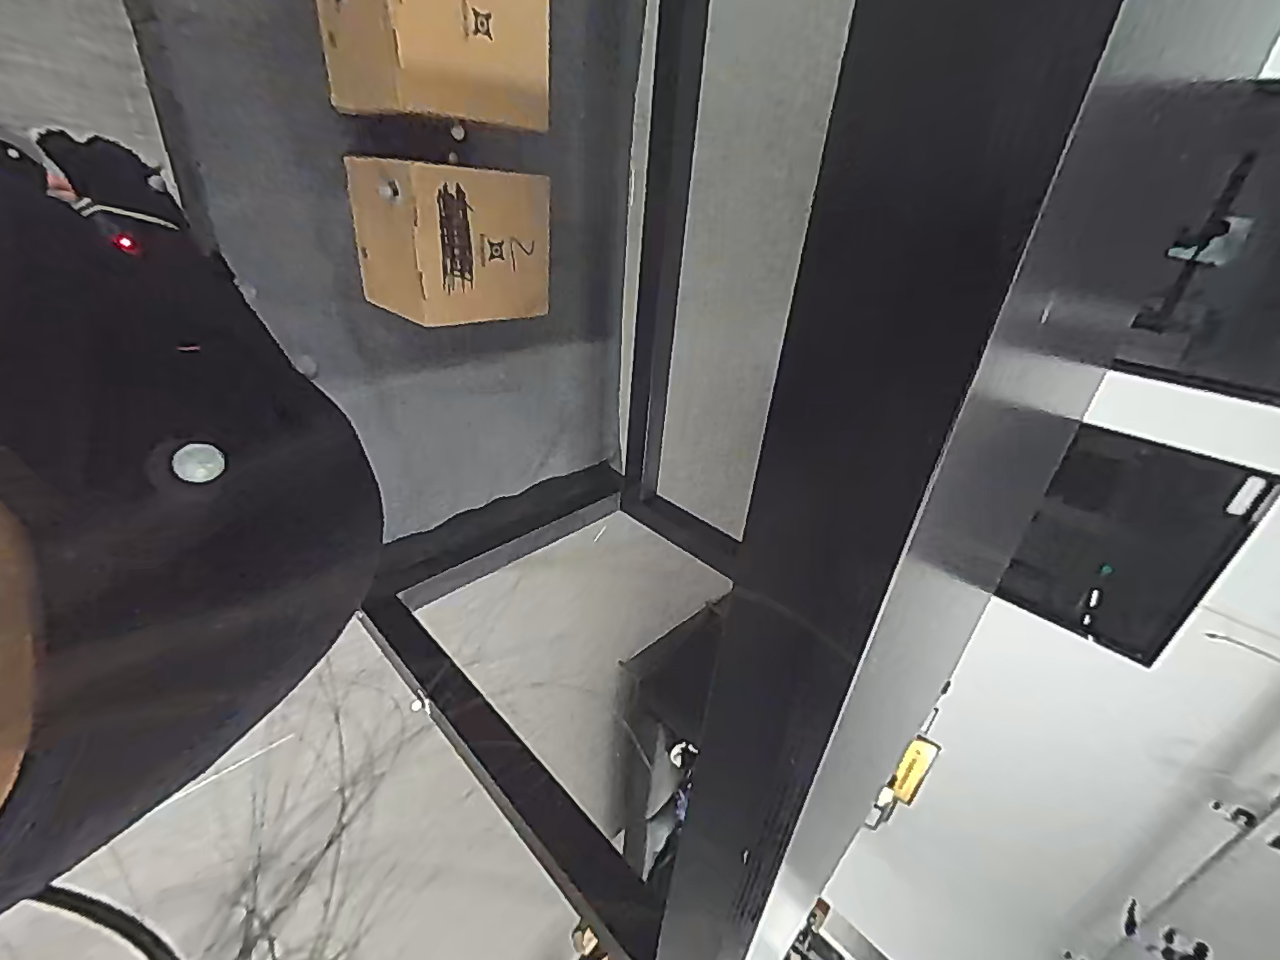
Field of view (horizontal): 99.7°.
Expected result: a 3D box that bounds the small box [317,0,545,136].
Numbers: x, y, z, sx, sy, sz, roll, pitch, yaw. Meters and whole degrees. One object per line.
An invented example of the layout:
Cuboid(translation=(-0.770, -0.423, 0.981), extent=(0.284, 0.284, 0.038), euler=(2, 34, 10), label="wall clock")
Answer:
Cuboid(translation=(-0.222, -0.482, 0.583), extent=(0.179, 0.176, 0.168), euler=(-23, 130, -41), label="small box")
